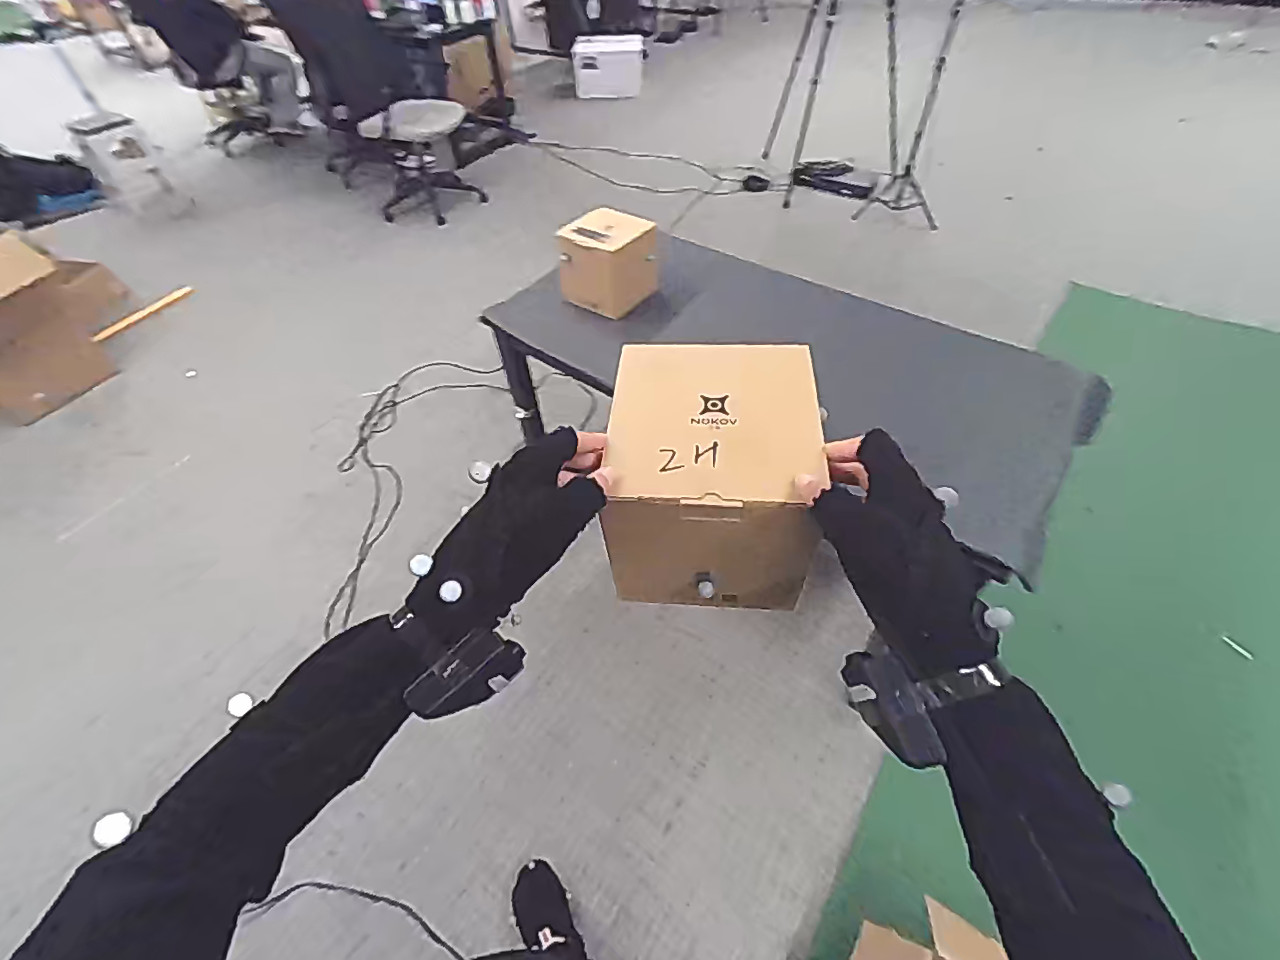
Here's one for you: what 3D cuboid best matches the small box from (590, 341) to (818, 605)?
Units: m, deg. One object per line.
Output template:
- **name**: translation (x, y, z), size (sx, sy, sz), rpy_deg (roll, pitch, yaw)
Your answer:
- **small box**: translation (0.056, -0.006, 0.496), size (0.168, 0.176, 0.179), rpy_deg (1, 53, 6)
